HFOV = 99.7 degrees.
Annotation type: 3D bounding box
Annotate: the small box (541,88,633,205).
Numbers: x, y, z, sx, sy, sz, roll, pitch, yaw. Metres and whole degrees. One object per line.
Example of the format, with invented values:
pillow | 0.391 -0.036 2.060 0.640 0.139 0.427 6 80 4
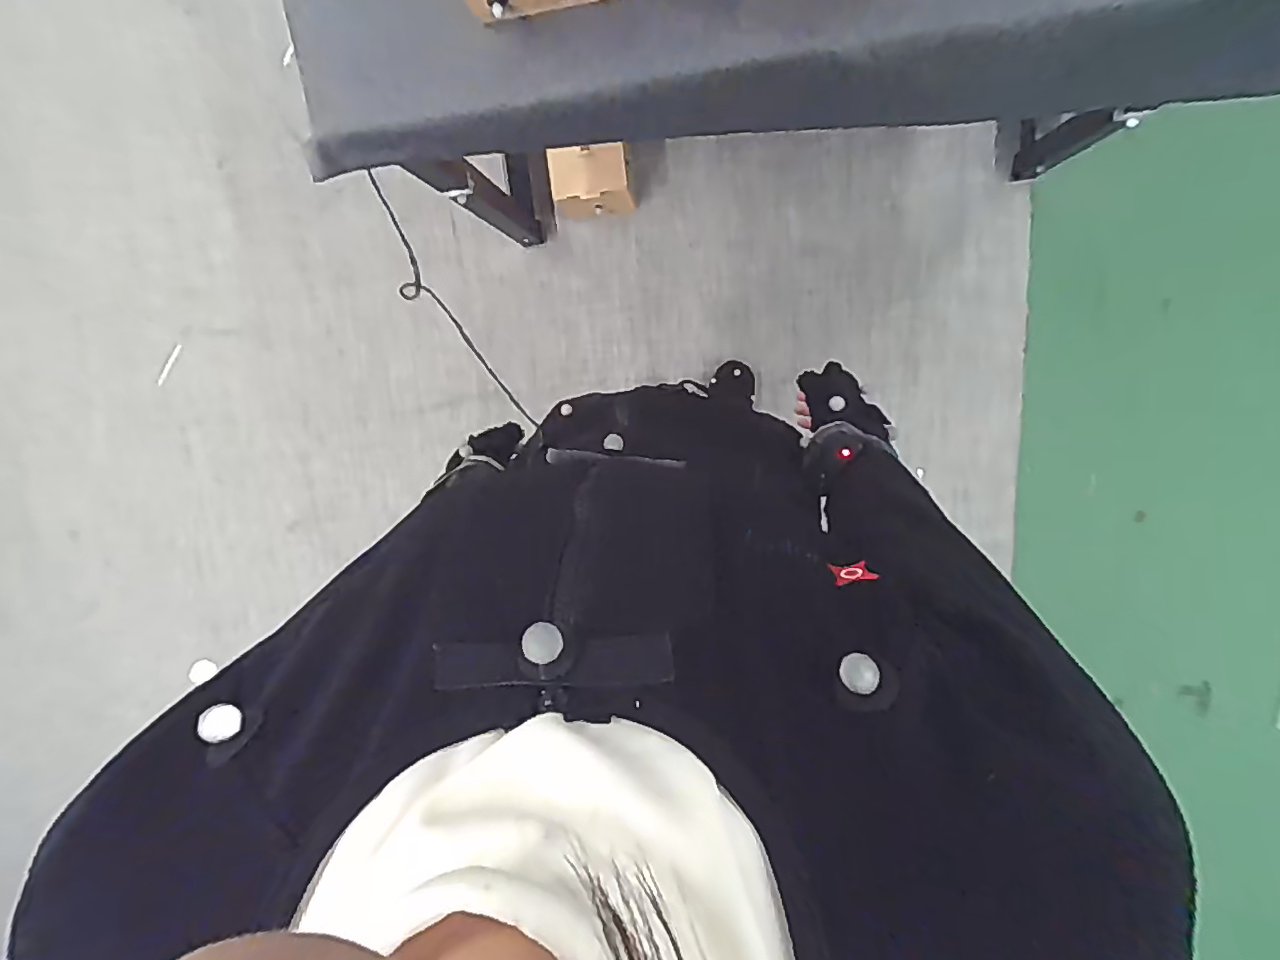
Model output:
small box | -0.111 -0.731 1.209 0.168 0.176 0.179 -4 103 7
